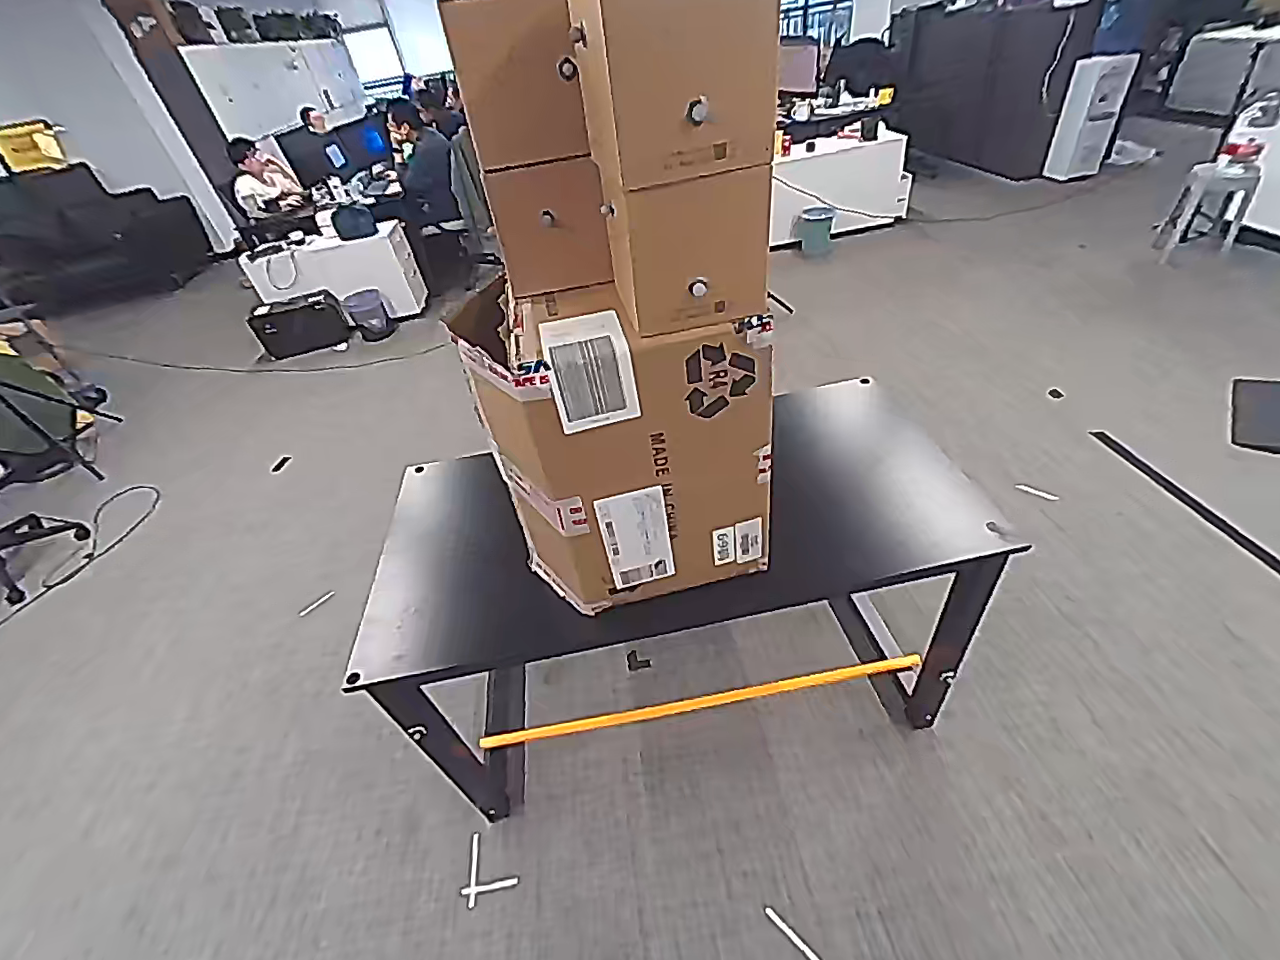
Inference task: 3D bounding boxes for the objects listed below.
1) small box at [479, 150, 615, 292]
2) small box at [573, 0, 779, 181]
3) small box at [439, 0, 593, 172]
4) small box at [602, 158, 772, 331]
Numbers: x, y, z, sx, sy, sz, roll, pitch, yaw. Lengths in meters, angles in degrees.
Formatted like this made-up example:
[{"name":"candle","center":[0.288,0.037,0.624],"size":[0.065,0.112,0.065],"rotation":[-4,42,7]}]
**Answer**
[{"name":"small box","center":[-0.127,-0.396,0.811],"size":[0.179,0.176,0.168],"rotation":[-13,39,-4]},{"name":"small box","center":[0.030,-0.429,0.565],"size":[0.168,0.176,0.179],"rotation":[-15,42,-6]},{"name":"small box","center":[-0.145,-0.520,0.706],"size":[0.179,0.176,0.168],"rotation":[-15,38,-7]},{"name":"small box","center":[0.052,-0.307,0.675],"size":[0.168,0.176,0.179],"rotation":[-12,42,-4]}]
